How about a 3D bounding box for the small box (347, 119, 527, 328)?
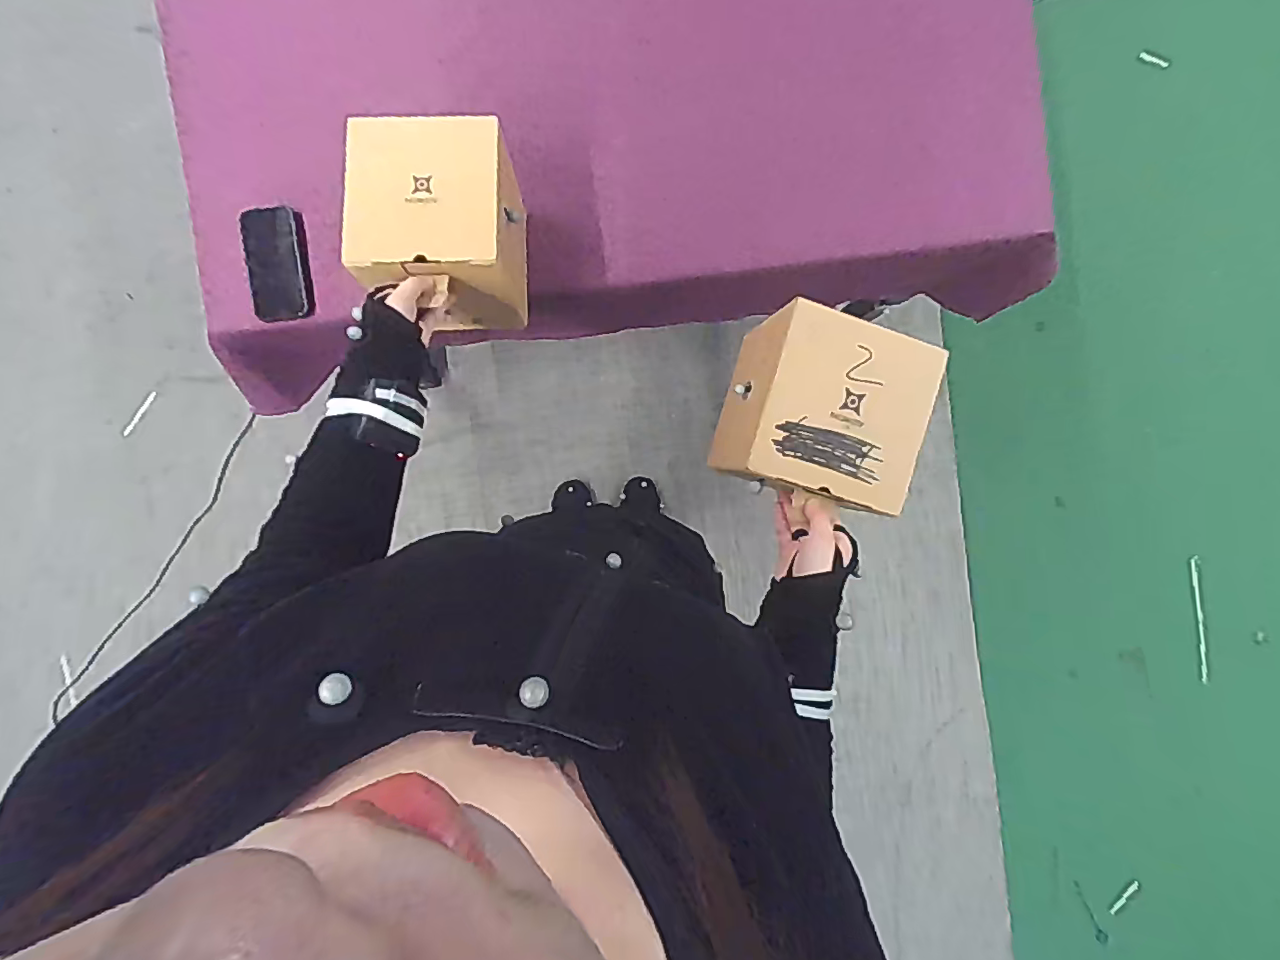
[{"bbox_3d":[-0.238,-0.306,0.671,0.168,0.176,0.179,-2,83,-2],"label":"small box"}]
